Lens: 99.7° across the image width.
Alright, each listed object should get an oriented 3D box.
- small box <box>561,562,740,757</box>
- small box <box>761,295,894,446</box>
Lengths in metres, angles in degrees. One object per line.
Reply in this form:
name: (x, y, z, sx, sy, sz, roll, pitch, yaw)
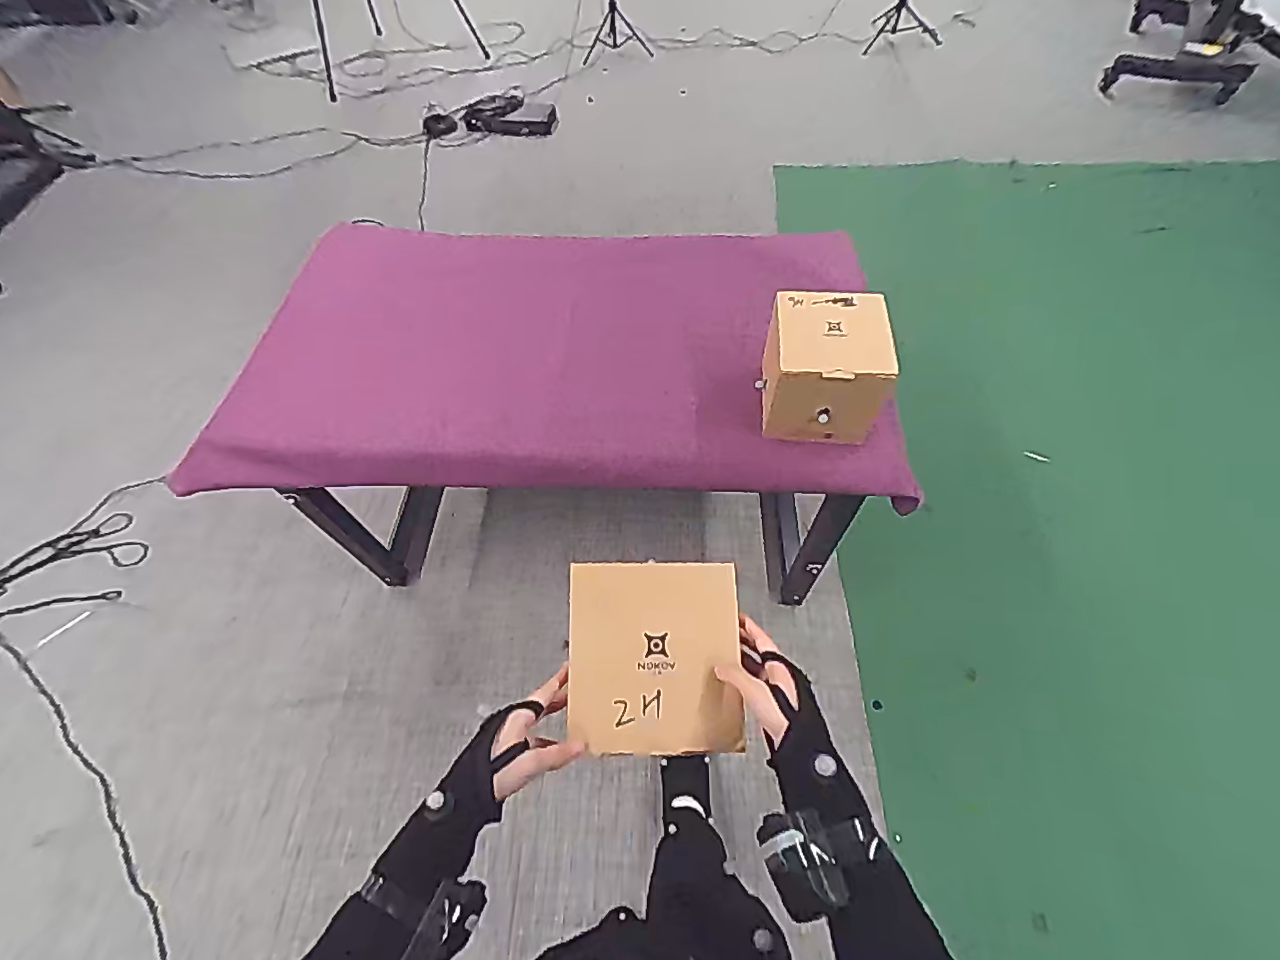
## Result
small box: (0.006, 0.188, 0.587, 0.168, 0.176, 0.179, 0, 74, -3)
small box: (0.290, -0.171, 0.869, 0.168, 0.176, 0.179, 4, 59, 6)
